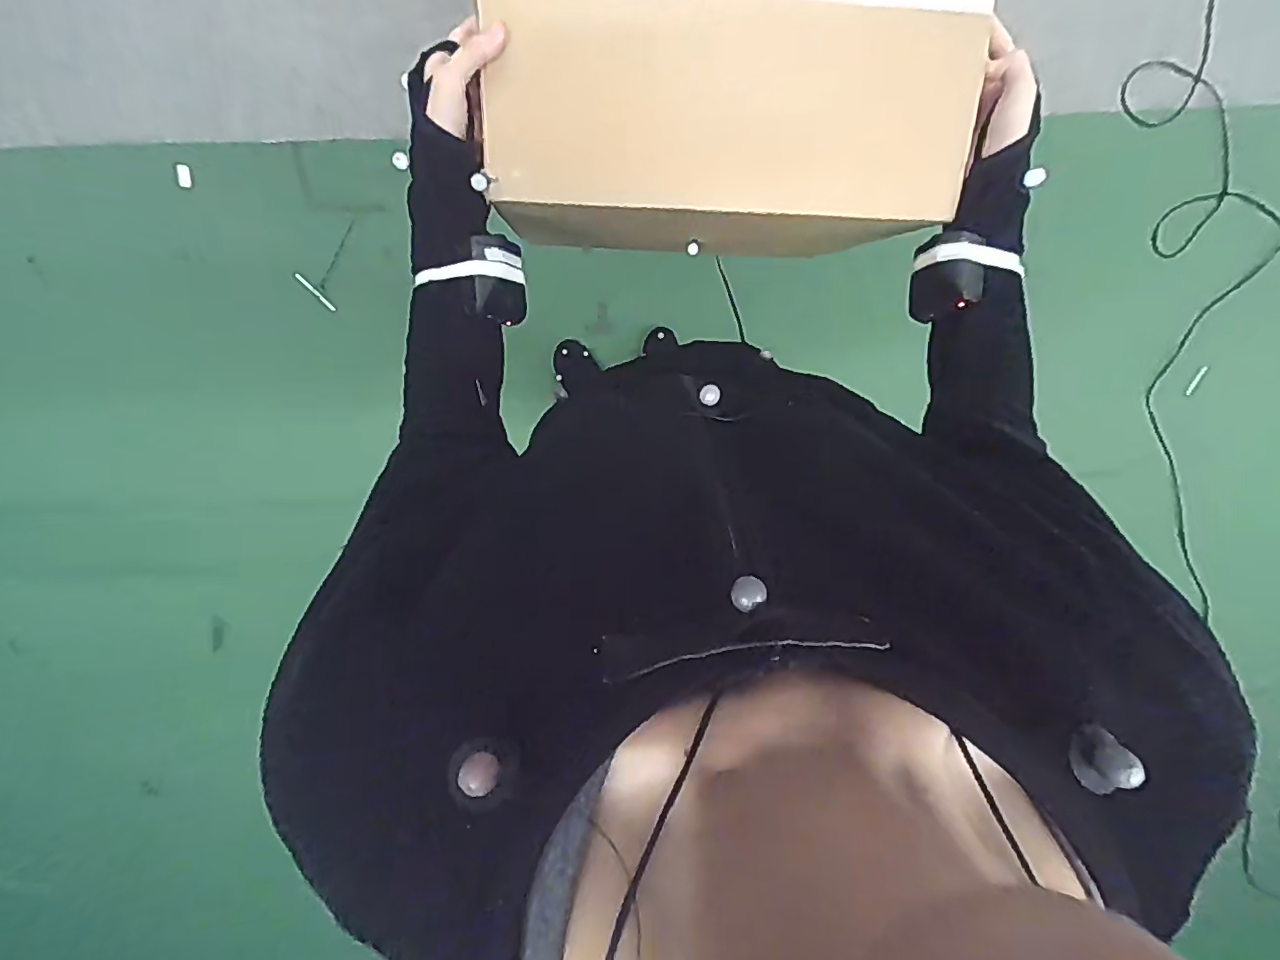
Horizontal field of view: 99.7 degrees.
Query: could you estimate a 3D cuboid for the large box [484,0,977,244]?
[{"bbox_3d":[0.067,-0.429,0.566,0.408,0.320,0.320,0,107,-5],"label":"large box"}]
